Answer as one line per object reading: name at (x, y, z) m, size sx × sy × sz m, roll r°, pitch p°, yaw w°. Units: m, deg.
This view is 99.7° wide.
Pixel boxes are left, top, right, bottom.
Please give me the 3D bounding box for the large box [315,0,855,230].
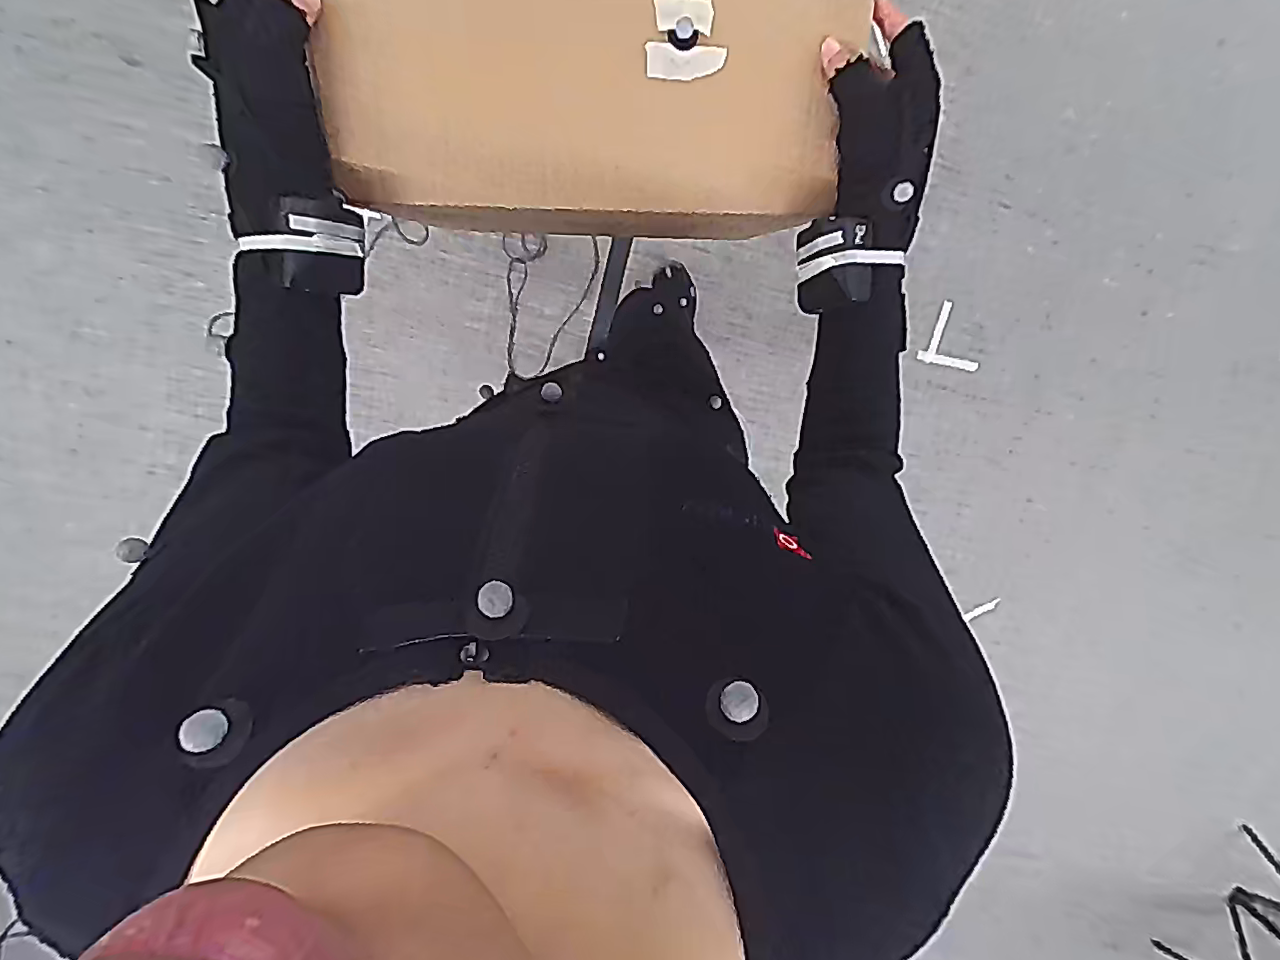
large box at (-0.045, -0.428, 0.527) m, size 0.408 × 0.320 × 0.320 m, roll 0°, pitch 111°, yaw -3°
